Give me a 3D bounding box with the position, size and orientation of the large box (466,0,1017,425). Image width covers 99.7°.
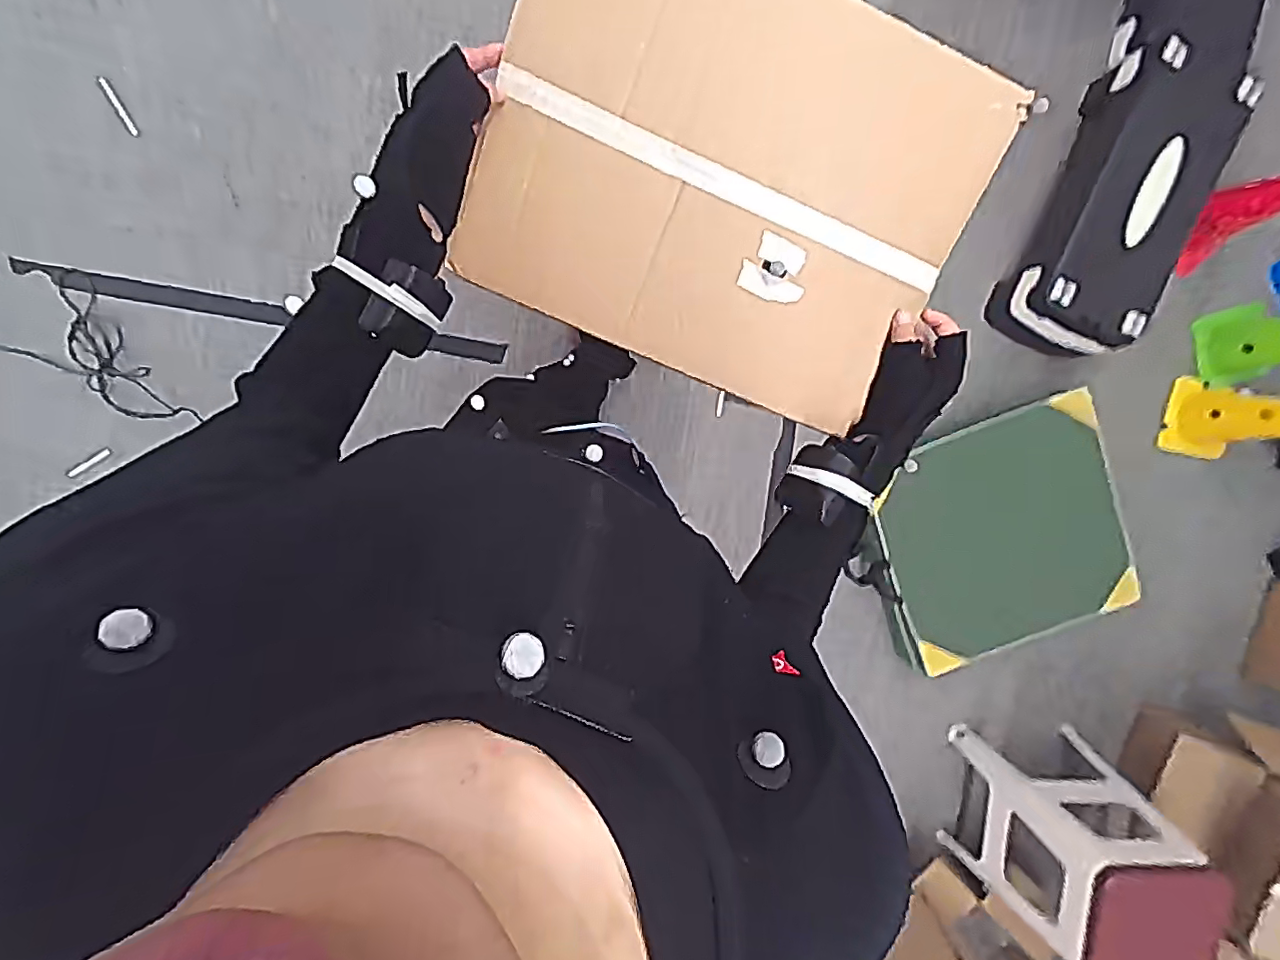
[{"bbox_3d":[0.076,-0.299,0.611,0.408,0.320,0.320,22,106,-8],"label":"large box"}]
